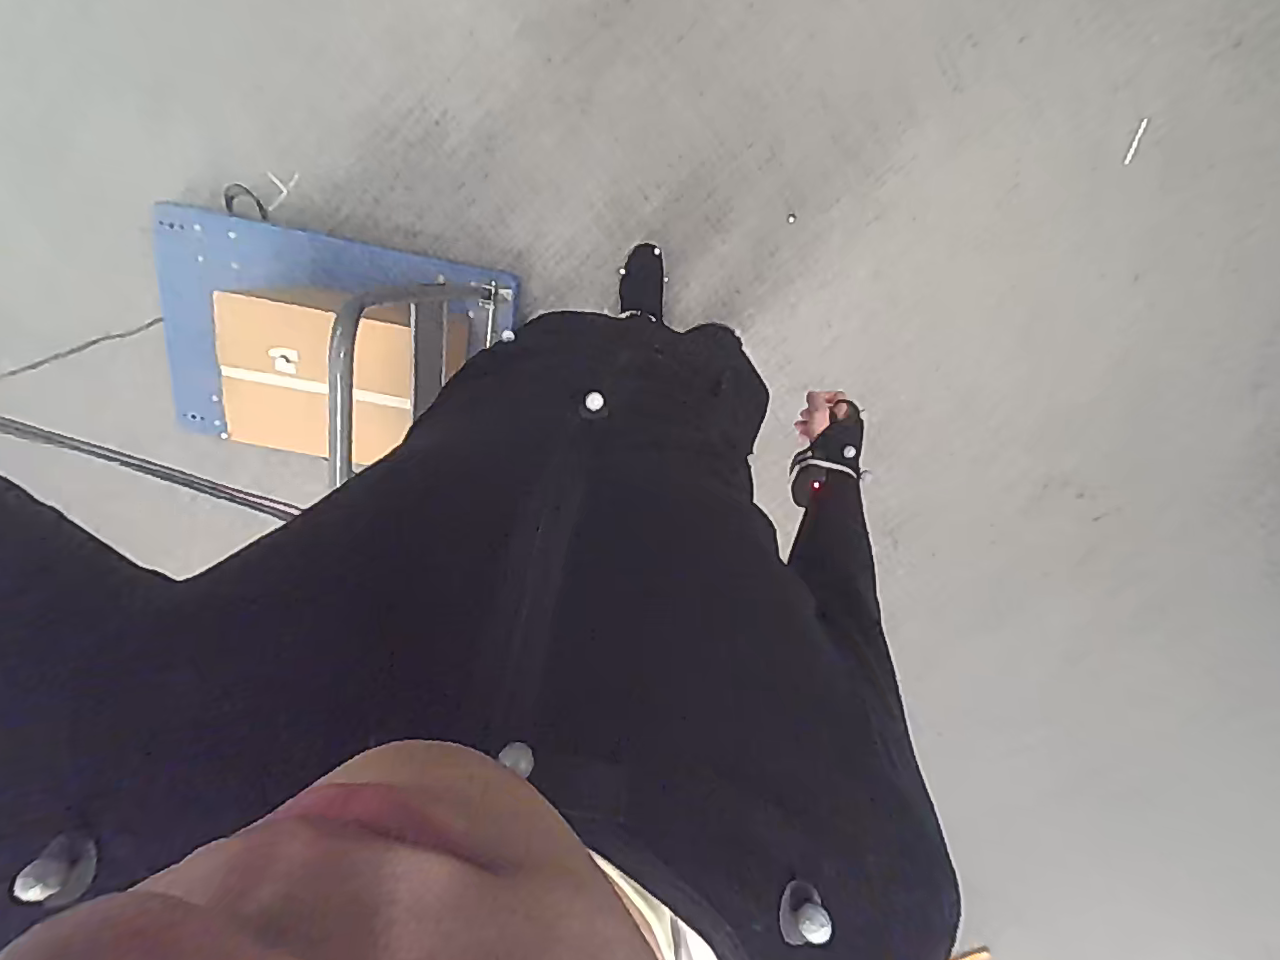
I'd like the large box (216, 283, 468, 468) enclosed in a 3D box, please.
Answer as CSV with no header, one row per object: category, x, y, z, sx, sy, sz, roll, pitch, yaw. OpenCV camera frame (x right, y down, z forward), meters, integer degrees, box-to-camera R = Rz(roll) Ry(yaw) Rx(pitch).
large box,-0.644,-0.253,1.242,0.408,0.320,0.320,11,111,-2
